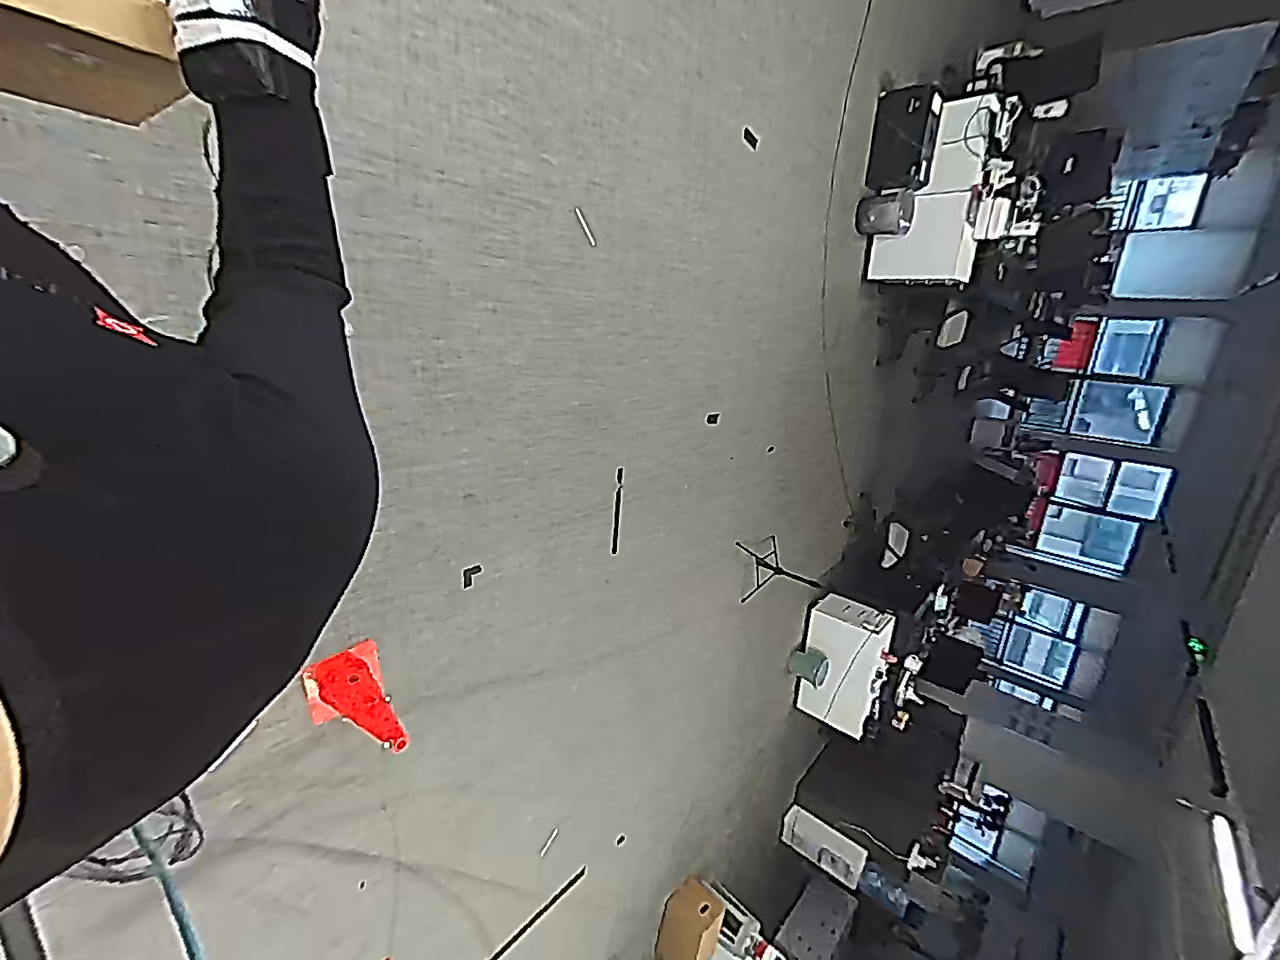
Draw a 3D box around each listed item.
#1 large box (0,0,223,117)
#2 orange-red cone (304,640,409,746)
[{"bbox_3d":[-0.522,-0.445,0.281,0.408,0.320,0.320,-13,117,-49],"label":"large box"},{"bbox_3d":[-0.742,0.626,1.487,0.198,0.360,0.199,-19,117,-47],"label":"orange-red cone"}]
